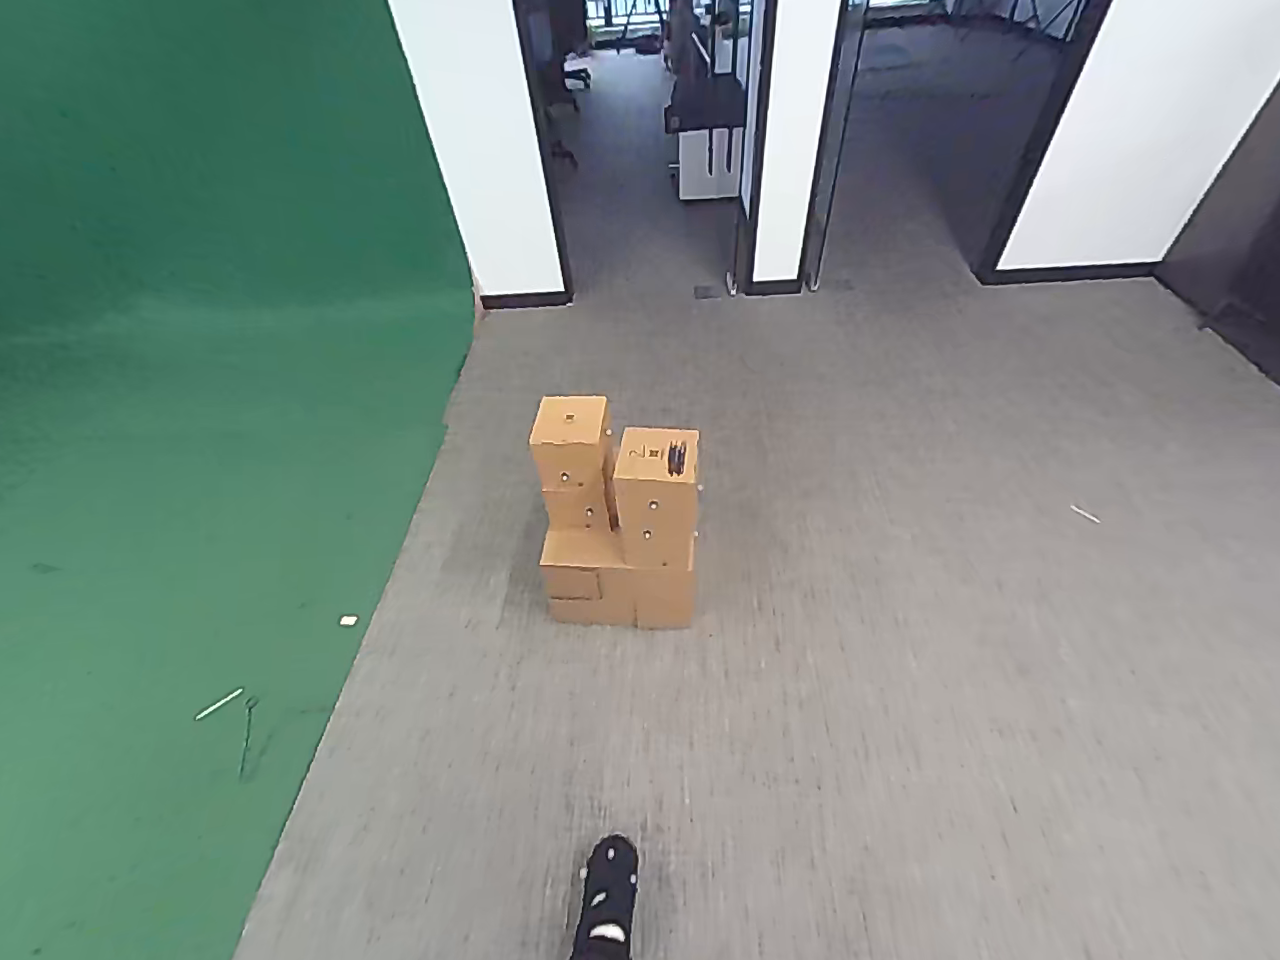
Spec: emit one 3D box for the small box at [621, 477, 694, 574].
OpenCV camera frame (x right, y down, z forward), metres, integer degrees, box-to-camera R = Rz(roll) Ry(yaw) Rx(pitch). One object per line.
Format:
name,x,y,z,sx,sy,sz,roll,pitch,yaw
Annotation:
small box,0.049,0.115,1.376,0.168,0.176,0.179,3,45,7

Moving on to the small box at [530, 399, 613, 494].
small box,-0.163,-0.083,1.362,0.168,0.176,0.179,1,48,6

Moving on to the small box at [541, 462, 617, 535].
small box,-0.158,0.033,1.478,0.168,0.176,0.179,1,45,6
